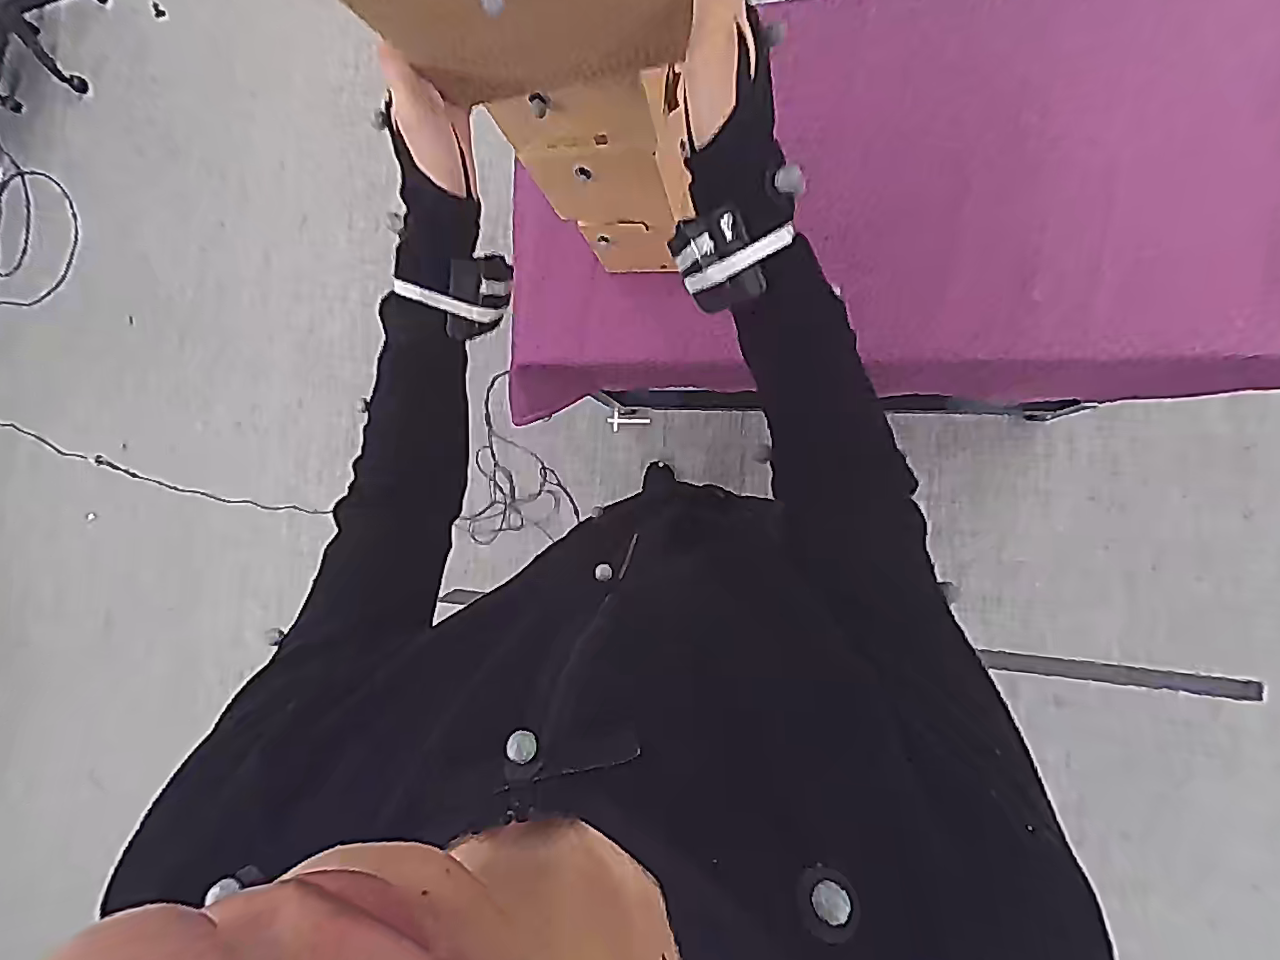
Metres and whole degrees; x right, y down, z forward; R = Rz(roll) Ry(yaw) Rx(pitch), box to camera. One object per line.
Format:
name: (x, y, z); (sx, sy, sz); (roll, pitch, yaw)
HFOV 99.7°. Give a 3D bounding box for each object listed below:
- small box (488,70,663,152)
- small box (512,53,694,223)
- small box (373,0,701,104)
small box: (-0.069, -0.454, 0.534); (0.168, 0.176, 0.179); (4, 88, 12)
small box: (-0.036, -0.452, 0.694); (0.179, 0.176, 0.168); (10, 90, 12)
small box: (-0.063, -0.334, 0.289); (0.179, 0.176, 0.168); (-5, 105, 9)
